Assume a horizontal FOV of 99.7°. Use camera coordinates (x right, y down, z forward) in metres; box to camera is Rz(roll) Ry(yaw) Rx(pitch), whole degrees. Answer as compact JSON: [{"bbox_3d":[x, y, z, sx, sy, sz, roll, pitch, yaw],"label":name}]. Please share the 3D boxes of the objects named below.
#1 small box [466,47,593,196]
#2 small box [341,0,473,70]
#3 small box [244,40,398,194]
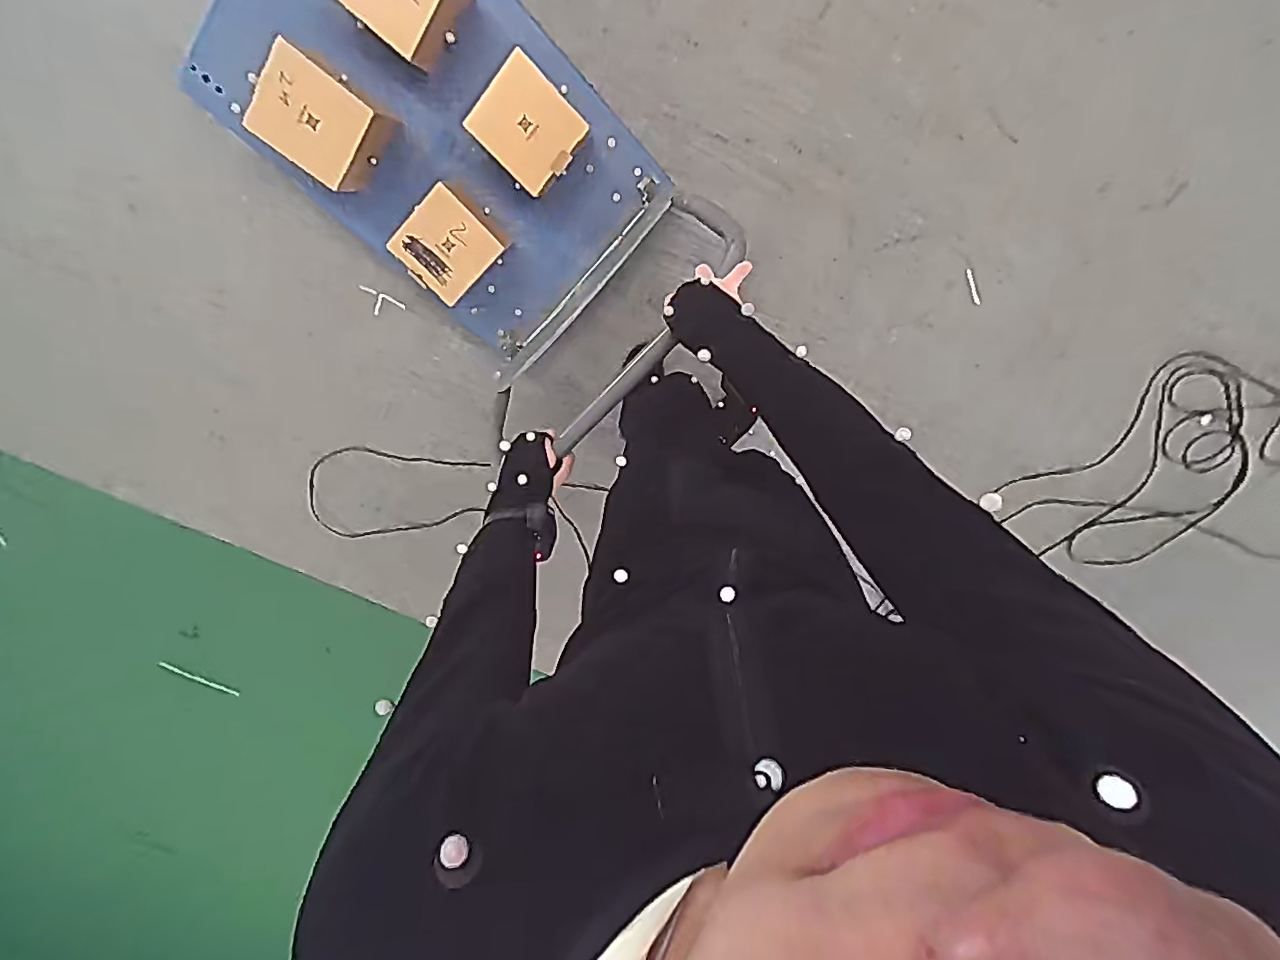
[{"bbox_3d":[-0.212,-0.694,1.070,0.179,0.176,0.168,39,109,-24],"label":"small box"},{"bbox_3d":[-0.421,-0.867,0.951,0.179,0.176,0.168,34,111,-22],"label":"small box"},{"bbox_3d":[-0.597,-0.682,1.036,0.179,0.176,0.168,34,110,-21],"label":"small box"}]
